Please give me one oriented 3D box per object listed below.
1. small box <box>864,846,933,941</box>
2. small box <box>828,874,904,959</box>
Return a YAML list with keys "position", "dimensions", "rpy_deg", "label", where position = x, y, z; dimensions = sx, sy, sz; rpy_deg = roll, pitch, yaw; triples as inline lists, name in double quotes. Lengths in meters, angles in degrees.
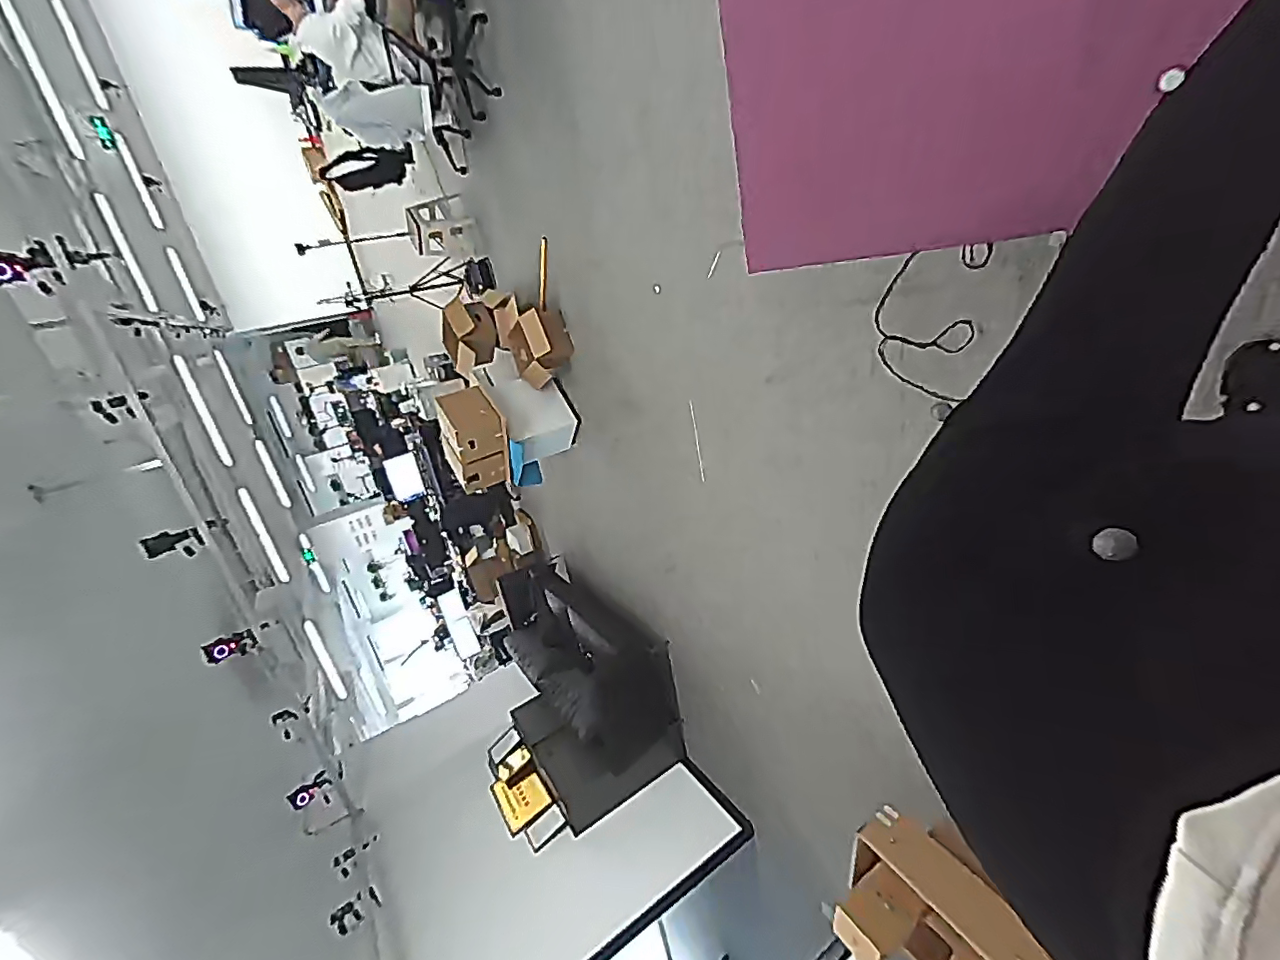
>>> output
- position: [0.895, 1.440, 1.893]
  dimensions: [0.168, 0.176, 0.179]
  rpy_deg: [33, 137, 49]
  label: "small box"
- position: [0.759, 1.490, 1.818]
  dimensions: [0.168, 0.176, 0.179]
  rpy_deg: [32, 135, 48]
  label: "small box"
